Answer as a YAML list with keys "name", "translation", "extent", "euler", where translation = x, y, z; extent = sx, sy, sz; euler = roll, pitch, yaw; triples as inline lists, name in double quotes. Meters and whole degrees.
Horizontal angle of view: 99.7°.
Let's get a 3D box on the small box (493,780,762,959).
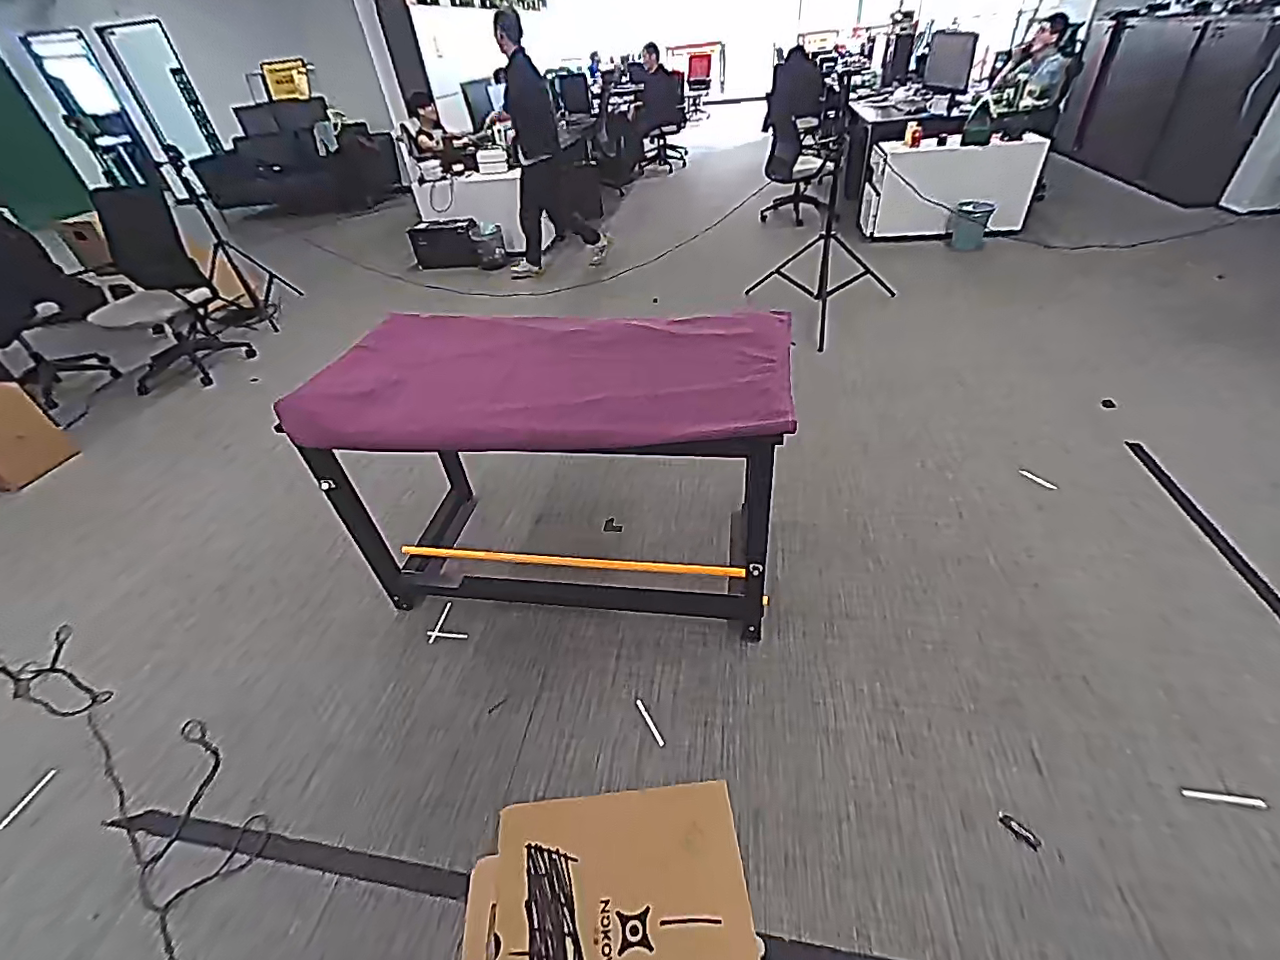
- name: "small box"
  translation: [-0.006, 0.355, 0.412]
  extent: [0.179, 0.176, 0.168]
  euler: [-6, 43, -2]
